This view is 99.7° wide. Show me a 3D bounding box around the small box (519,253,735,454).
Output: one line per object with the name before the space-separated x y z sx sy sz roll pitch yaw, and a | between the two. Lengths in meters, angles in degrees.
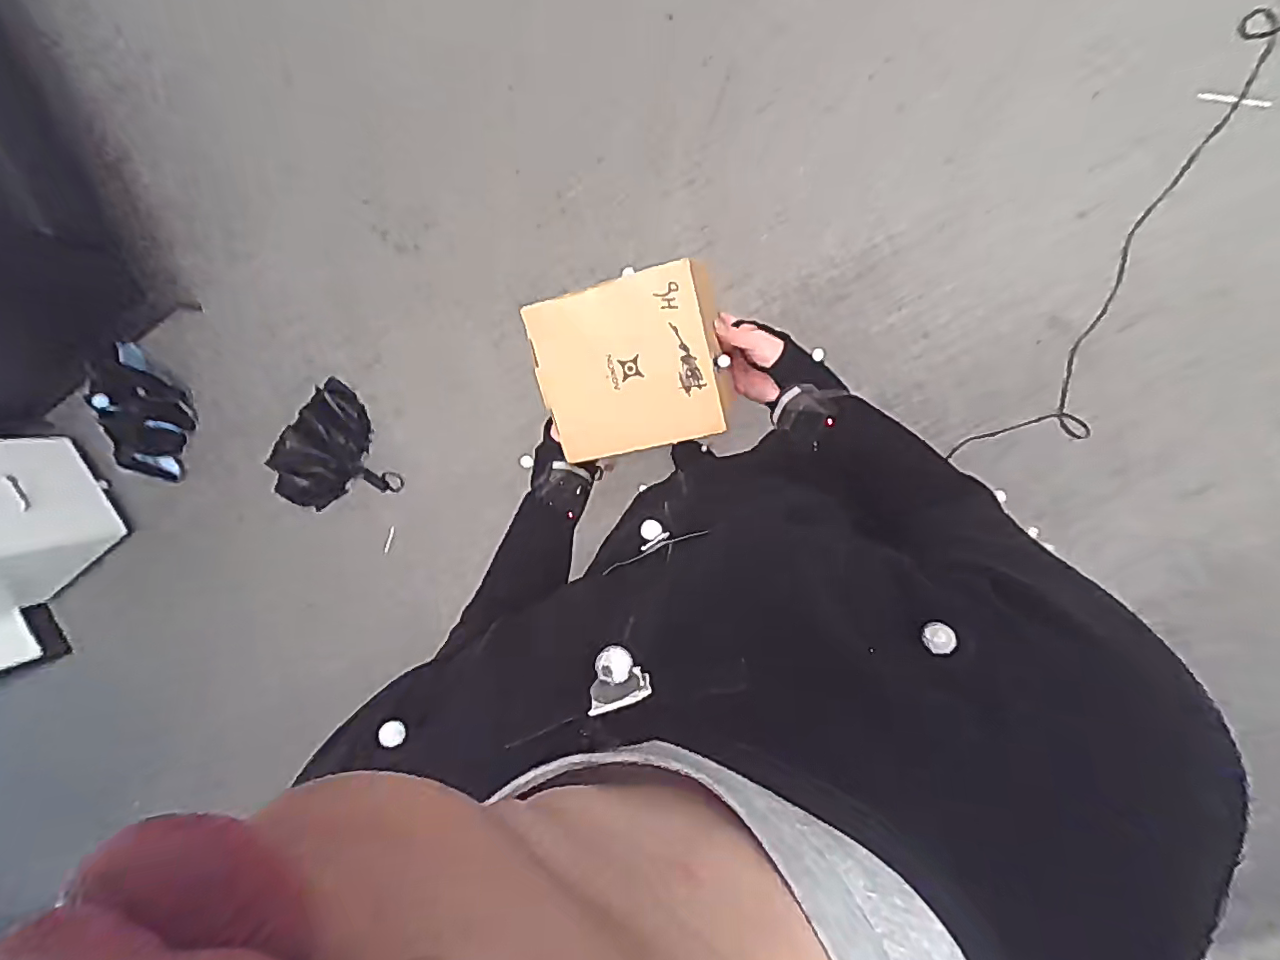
small box | -0.001 -0.140 0.601 0.179 0.176 0.168 -9 107 19
